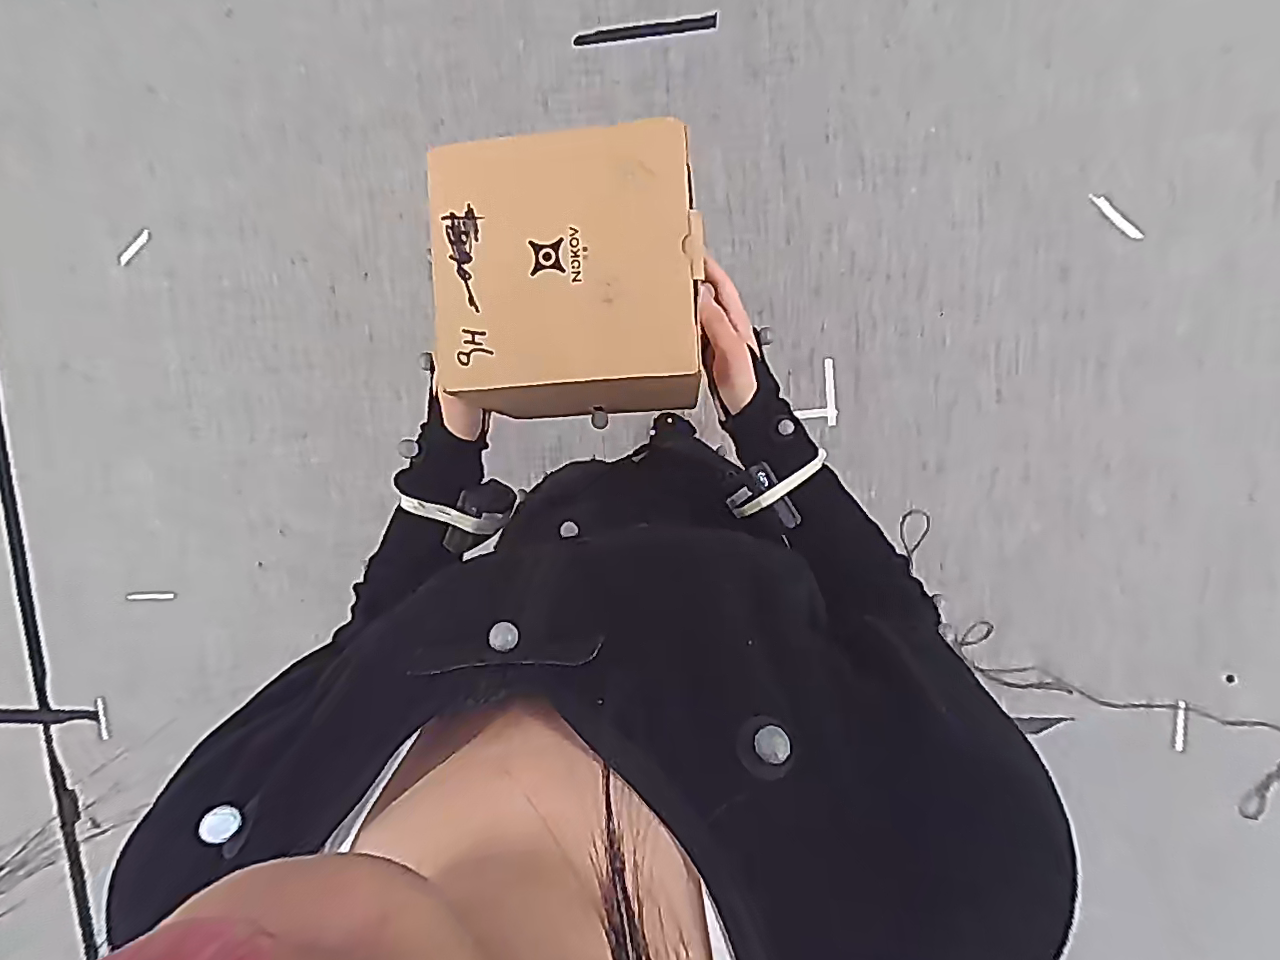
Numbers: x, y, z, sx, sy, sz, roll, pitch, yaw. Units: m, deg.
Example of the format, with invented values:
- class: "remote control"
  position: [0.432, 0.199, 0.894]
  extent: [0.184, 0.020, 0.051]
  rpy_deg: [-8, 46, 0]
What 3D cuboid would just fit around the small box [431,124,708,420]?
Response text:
- class: "small box"
  position: [-0.043, -0.143, 0.432]
  extent: [0.179, 0.176, 0.168]
  rpy_deg: [-4, 89, 4]
